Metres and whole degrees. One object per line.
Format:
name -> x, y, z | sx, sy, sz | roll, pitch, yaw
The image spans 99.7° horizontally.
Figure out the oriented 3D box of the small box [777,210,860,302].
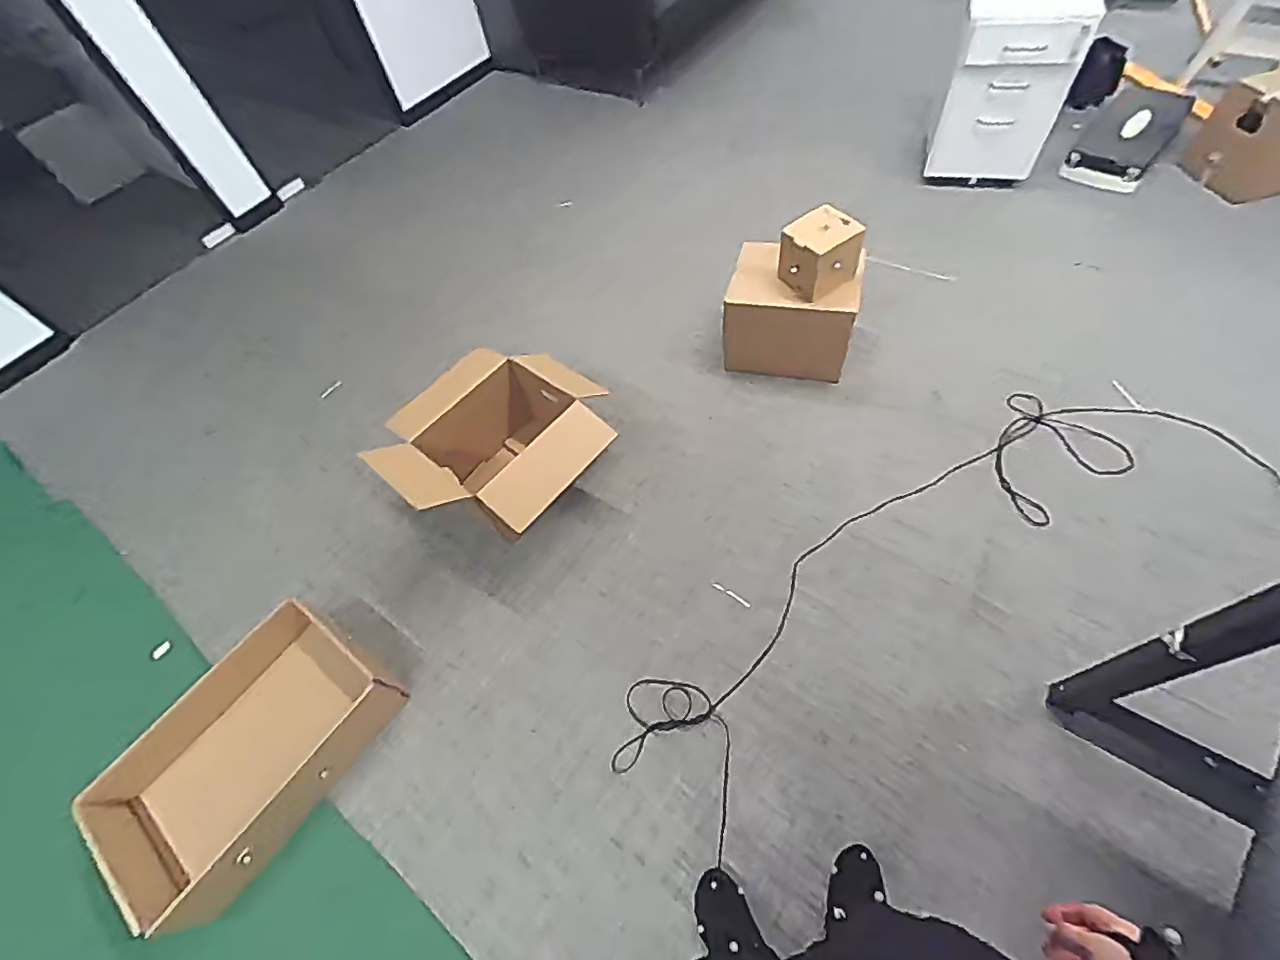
small box -> 0.534, -0.676, 1.642 | 0.179, 0.176, 0.168 | -33, 59, -10
